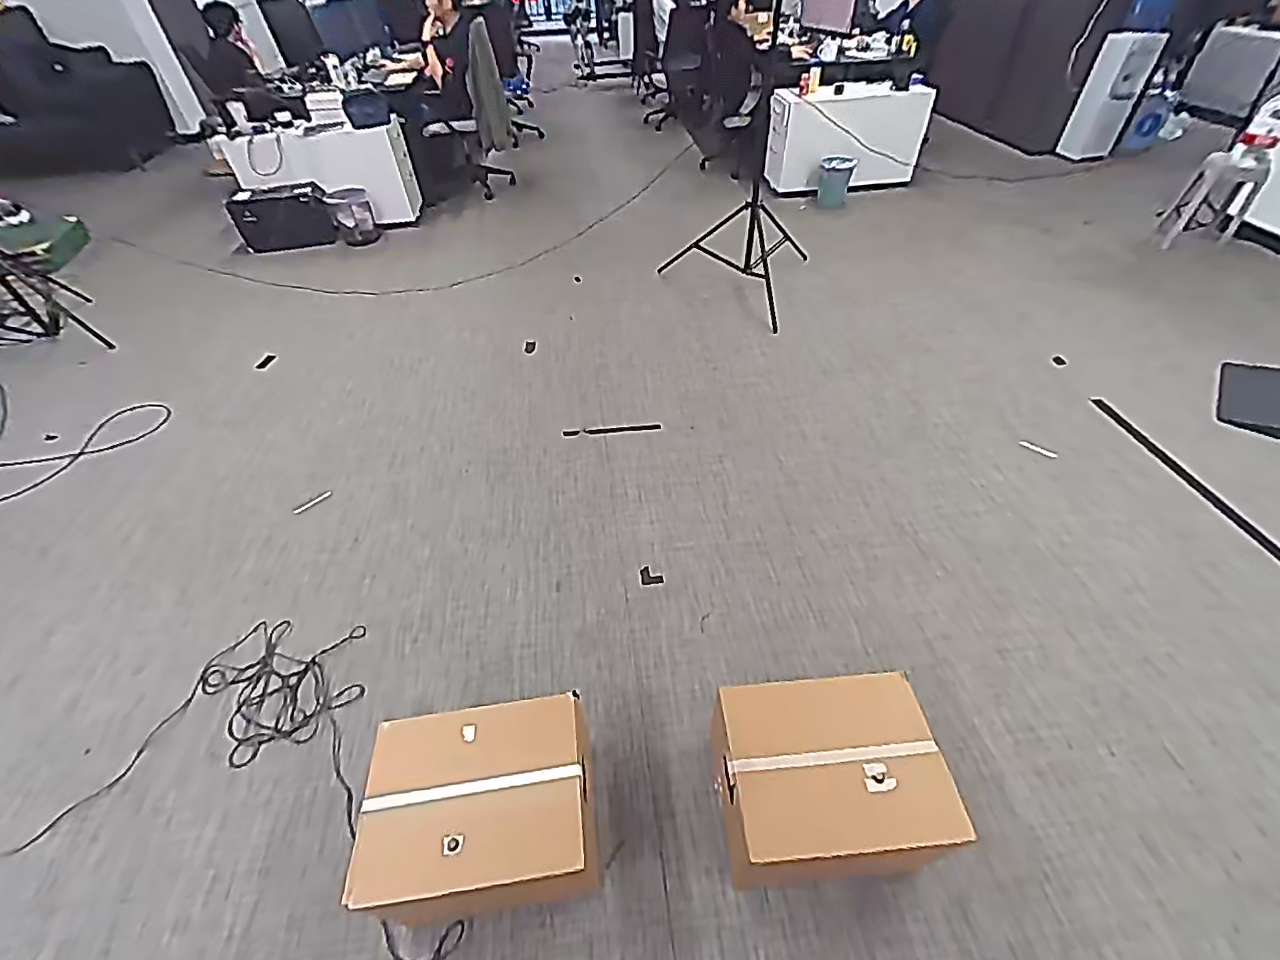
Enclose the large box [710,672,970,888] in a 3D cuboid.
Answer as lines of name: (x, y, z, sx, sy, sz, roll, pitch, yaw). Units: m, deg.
large box: (0.382, 0.643, 1.160, 0.408, 0.320, 0.320, -4, 46, -2)
